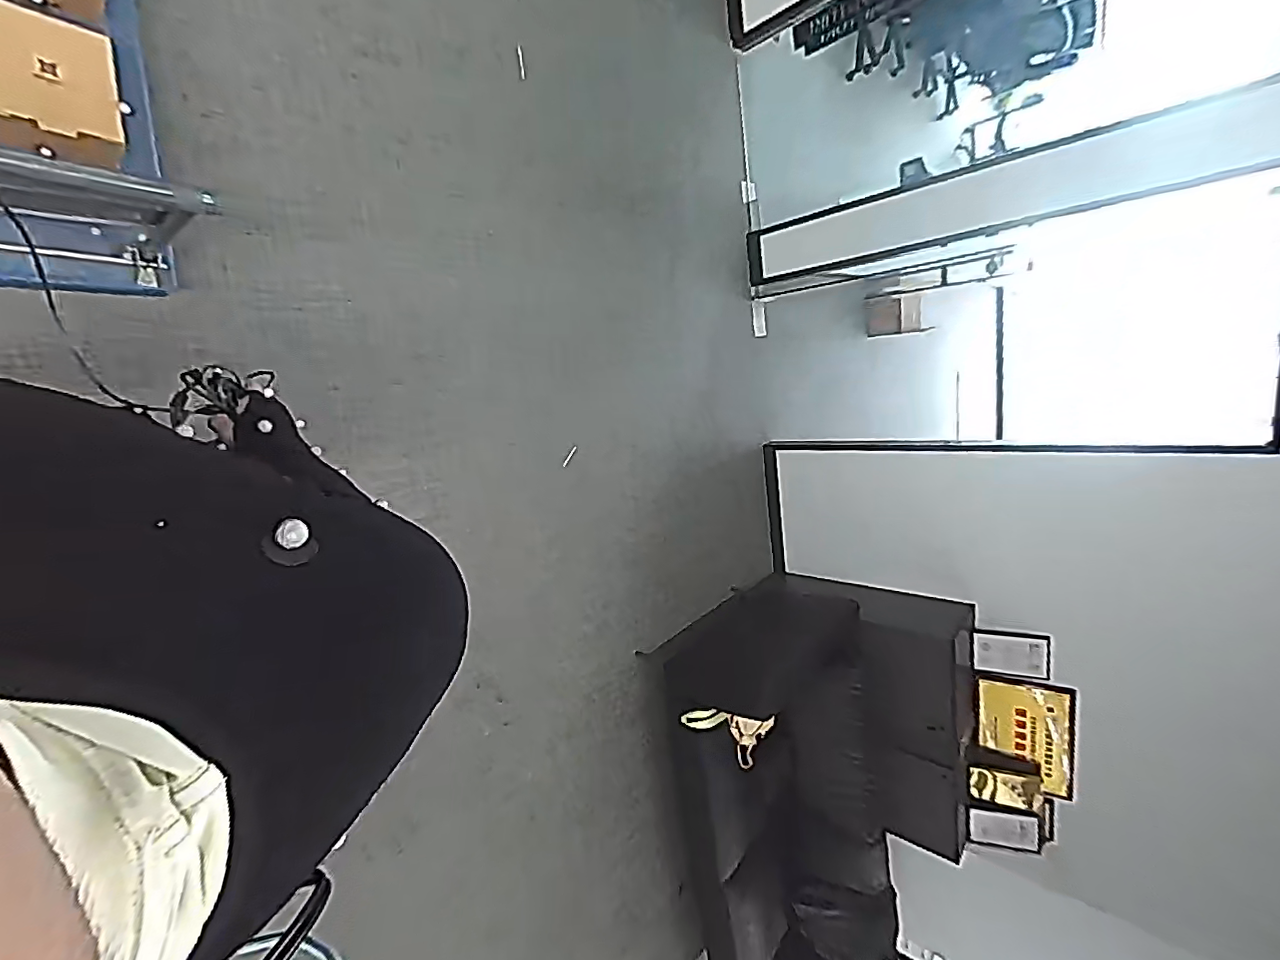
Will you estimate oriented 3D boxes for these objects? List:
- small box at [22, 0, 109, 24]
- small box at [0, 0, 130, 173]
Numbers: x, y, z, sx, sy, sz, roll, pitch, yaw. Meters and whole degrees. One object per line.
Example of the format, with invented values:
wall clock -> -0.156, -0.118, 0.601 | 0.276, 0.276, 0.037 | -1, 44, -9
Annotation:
small box -> -1.022, -0.931, 0.906 | 0.168, 0.176, 0.179 | -14, 104, -45
small box -> -1.017, -0.671, 0.938 | 0.168, 0.176, 0.179 | -10, 102, -46
